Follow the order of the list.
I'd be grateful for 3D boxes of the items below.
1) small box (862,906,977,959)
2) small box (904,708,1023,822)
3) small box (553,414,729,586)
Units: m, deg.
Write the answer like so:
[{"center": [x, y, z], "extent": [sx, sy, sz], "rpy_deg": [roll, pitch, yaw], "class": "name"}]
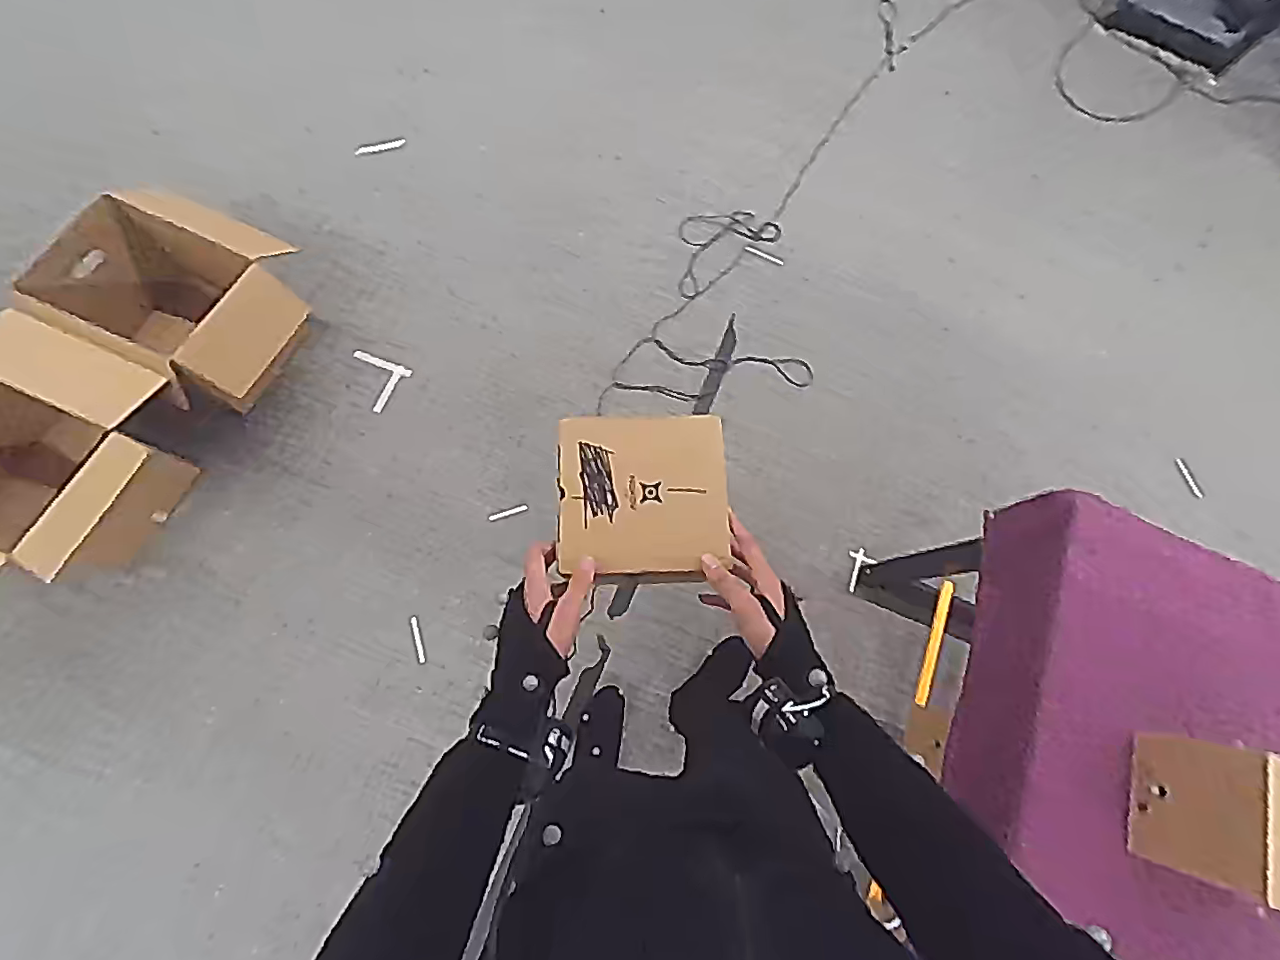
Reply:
[{"center": [0.596, 1.056, 1.149], "extent": [0.179, 0.176, 0.168], "rpy_deg": [24, 73, -1], "class": "small box"}, {"center": [0.756, 0.663, 1.281], "extent": [0.168, 0.176, 0.179], "rpy_deg": [21, 73, -1], "class": "small box"}, {"center": [-0.002, 0.032, 0.627], "extent": [0.179, 0.176, 0.168], "rpy_deg": [-2, 76, -2], "class": "small box"}]
